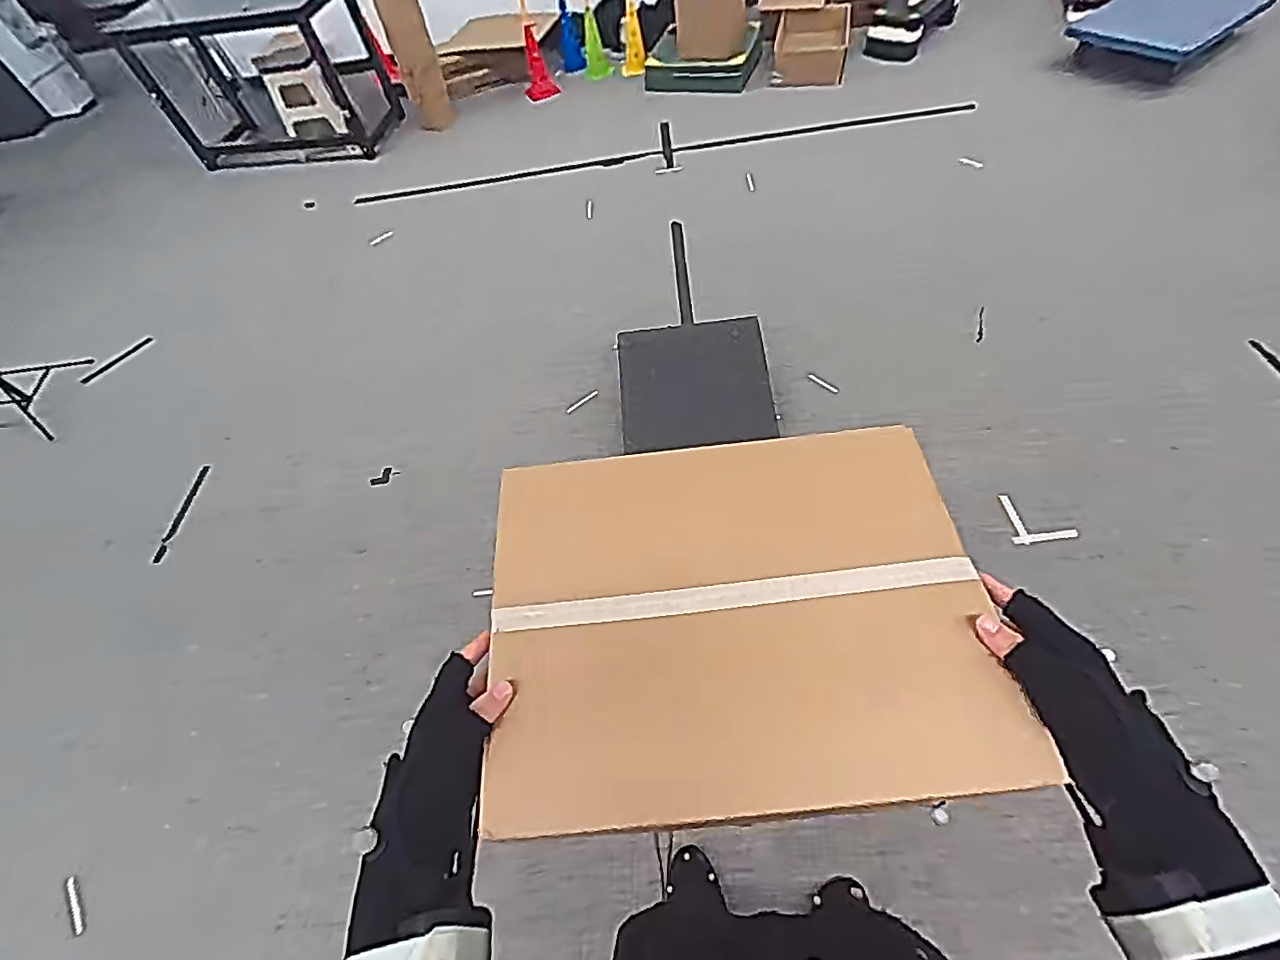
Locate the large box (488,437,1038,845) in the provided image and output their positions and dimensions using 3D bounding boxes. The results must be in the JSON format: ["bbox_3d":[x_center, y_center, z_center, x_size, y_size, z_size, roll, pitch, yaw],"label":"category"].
[{"bbox_3d":[0.086,0.186,0.587,0.408,0.320,0.320,-6,56,1],"label":"large box"}]
